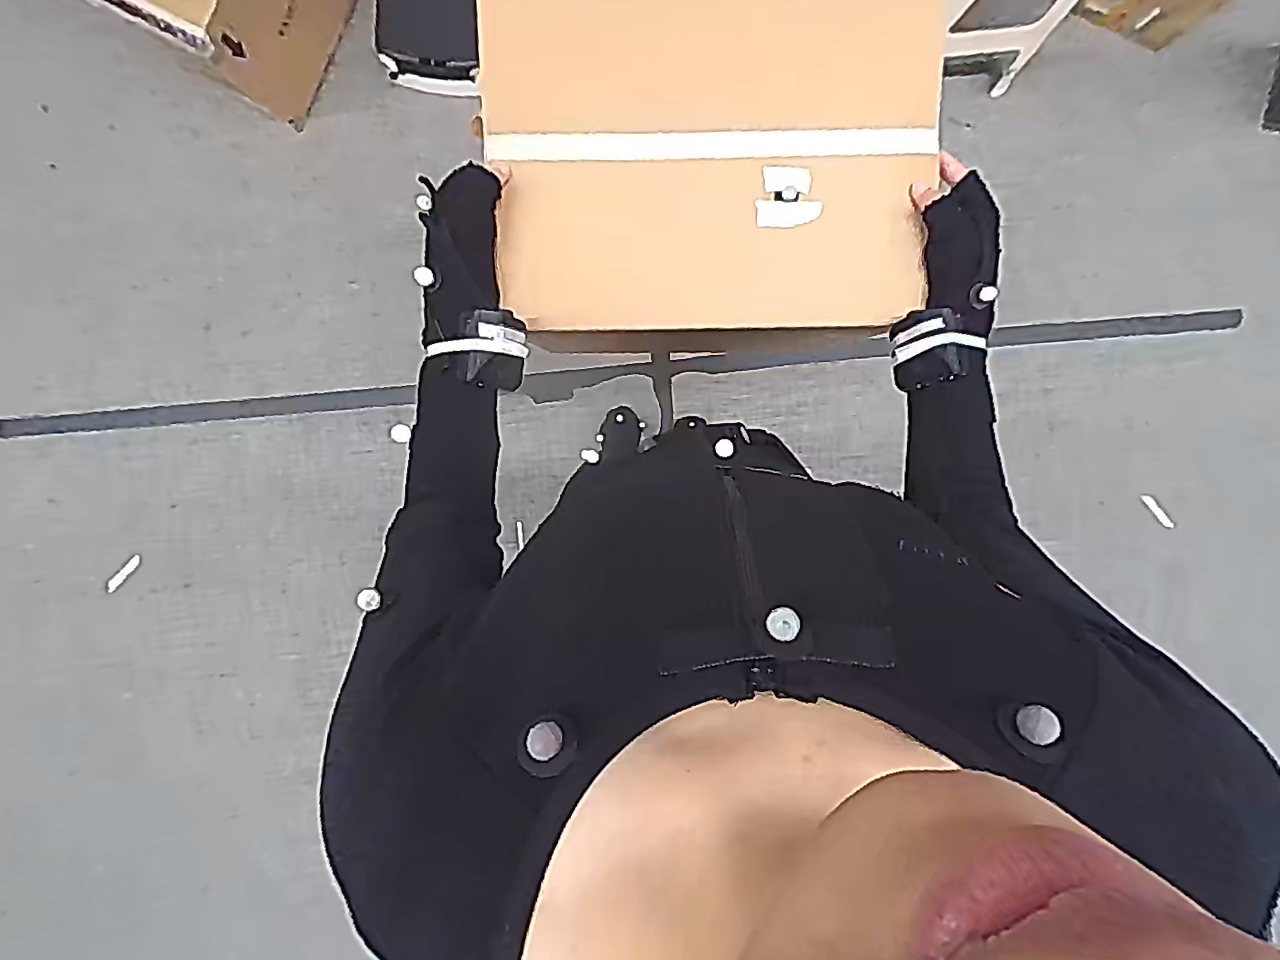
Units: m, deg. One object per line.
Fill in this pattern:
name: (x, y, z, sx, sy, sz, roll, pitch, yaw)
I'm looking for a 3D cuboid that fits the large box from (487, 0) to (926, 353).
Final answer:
large box: (0.060, -0.328, 0.652, 0.408, 0.320, 0.320, -1, 100, -1)
